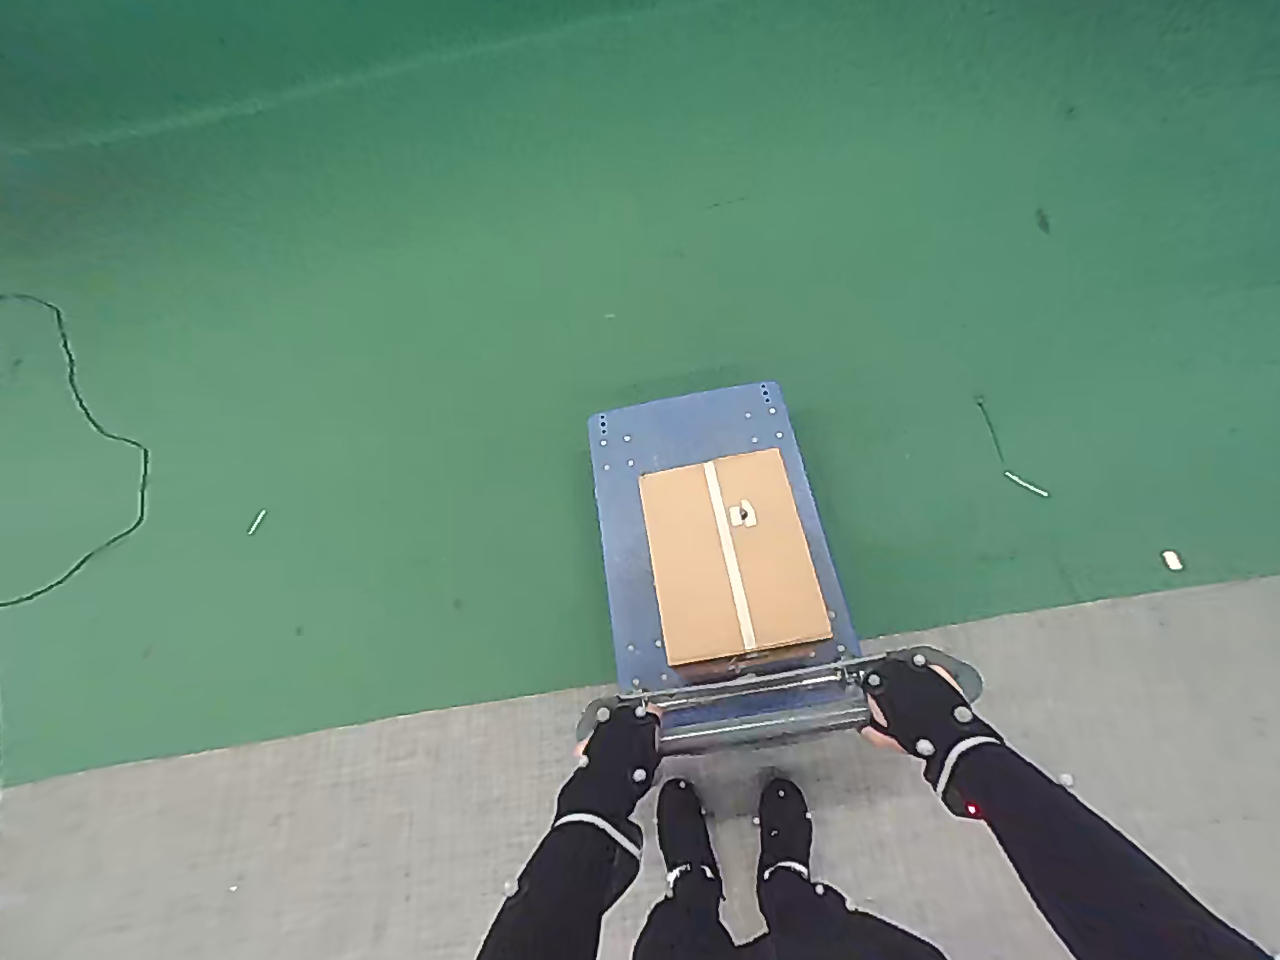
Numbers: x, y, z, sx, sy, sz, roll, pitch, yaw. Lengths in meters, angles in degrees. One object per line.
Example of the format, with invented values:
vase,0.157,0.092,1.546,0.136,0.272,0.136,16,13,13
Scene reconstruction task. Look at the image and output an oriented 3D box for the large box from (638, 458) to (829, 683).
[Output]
large box,0.198,0.219,1.235,0.320,0.320,0.408,-11,64,4
